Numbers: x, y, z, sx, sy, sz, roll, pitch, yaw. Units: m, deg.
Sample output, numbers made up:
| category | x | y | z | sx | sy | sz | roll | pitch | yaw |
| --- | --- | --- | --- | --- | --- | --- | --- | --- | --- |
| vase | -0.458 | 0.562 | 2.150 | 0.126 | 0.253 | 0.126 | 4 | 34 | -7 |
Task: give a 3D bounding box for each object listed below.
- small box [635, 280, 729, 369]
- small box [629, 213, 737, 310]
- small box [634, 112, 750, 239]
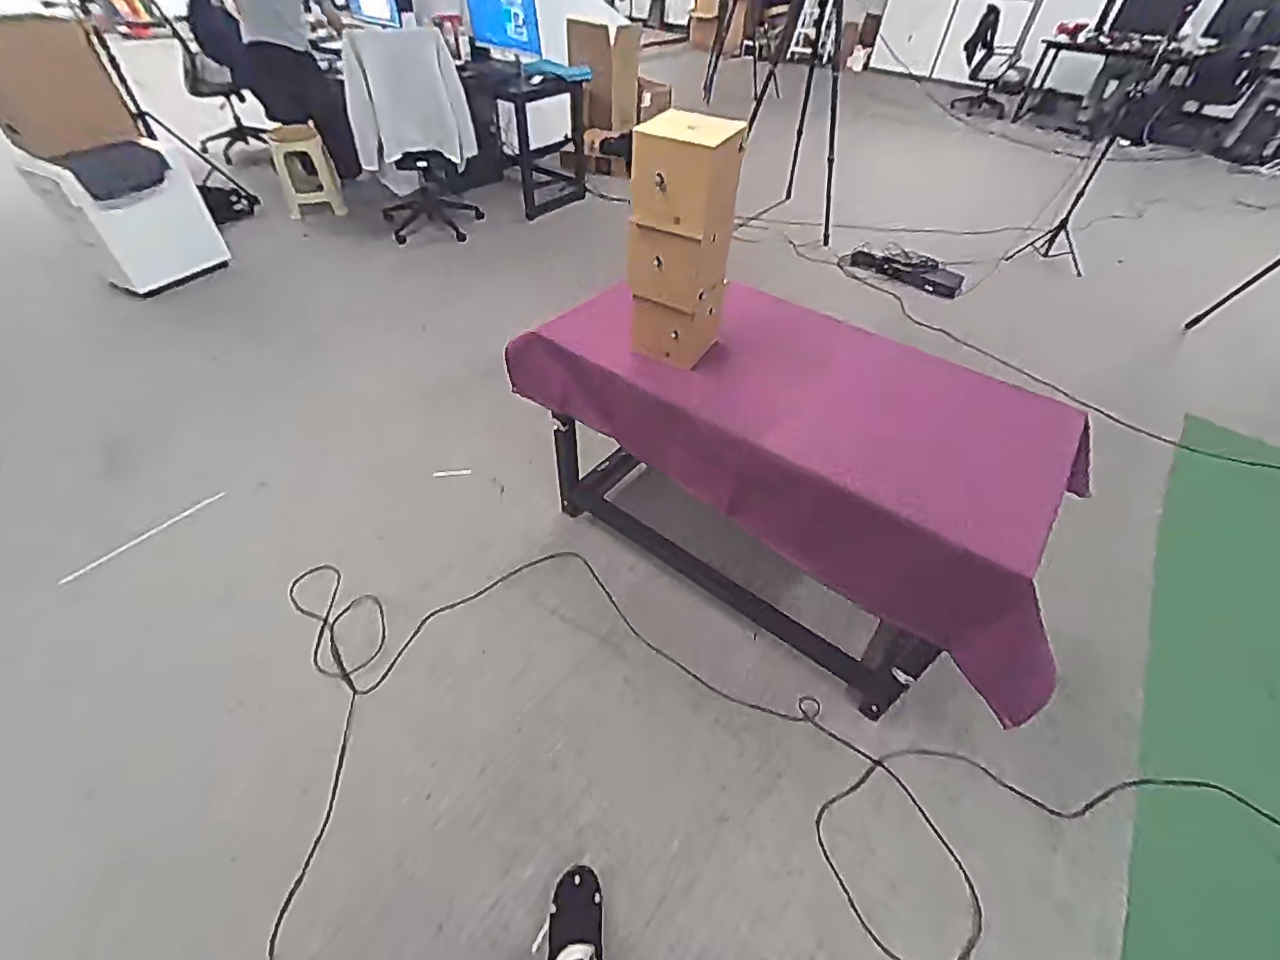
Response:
| category | x | y | z | sx | sy | sz | roll | pitch | yaw |
| --- | --- | --- | --- | --- | --- | --- | --- | --- | --- |
| small box | 0.100 | -0.399 | 1.327 | 0.168 | 0.176 | 0.179 | 26 | 50 | 19 |
| small box | 0.090 | -0.498 | 1.194 | 0.179 | 0.176 | 0.168 | 25 | 50 | 19 |
| small box | 0.098 | -0.599 | 1.067 | 0.168 | 0.176 | 0.179 | 23 | 49 | 16 |
